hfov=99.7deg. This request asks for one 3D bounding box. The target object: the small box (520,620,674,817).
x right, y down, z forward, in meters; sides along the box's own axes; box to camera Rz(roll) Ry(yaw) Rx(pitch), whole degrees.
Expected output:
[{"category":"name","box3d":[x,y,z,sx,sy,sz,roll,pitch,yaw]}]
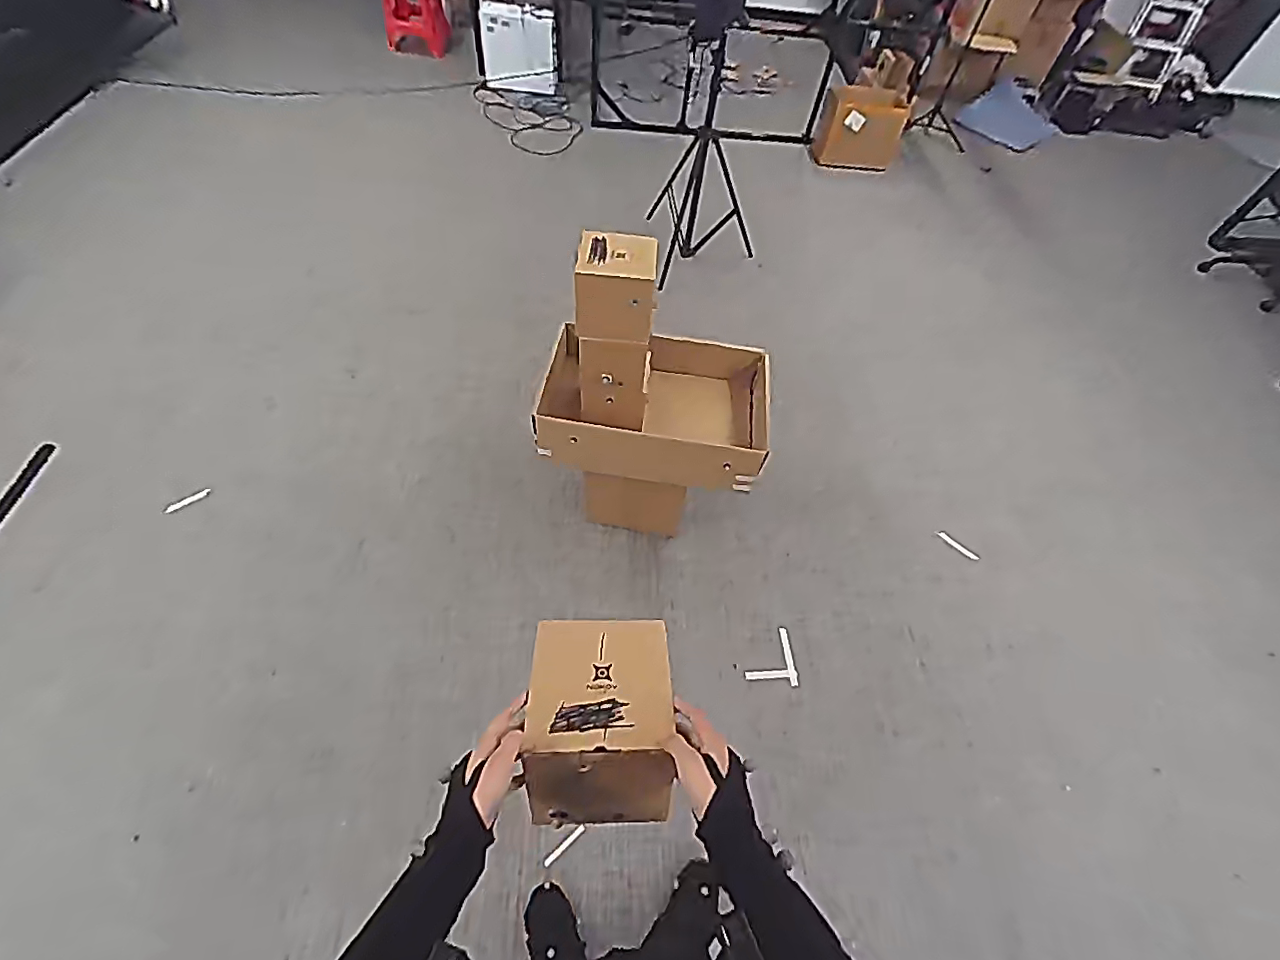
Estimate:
[{"category":"small box","box3d":[-0.049,0.298,0.676,0.168,0.176,0.179,0,35,-4]}]

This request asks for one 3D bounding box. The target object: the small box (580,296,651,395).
[{"category":"small box","box3d":[-0.064,-0.343,1.386,0.168,0.176,0.179,4,54,-2]}]

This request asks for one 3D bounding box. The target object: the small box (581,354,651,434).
[{"category":"small box","box3d":[-0.068,-0.247,1.519,0.179,0.176,0.168,7,55,-2]}]
